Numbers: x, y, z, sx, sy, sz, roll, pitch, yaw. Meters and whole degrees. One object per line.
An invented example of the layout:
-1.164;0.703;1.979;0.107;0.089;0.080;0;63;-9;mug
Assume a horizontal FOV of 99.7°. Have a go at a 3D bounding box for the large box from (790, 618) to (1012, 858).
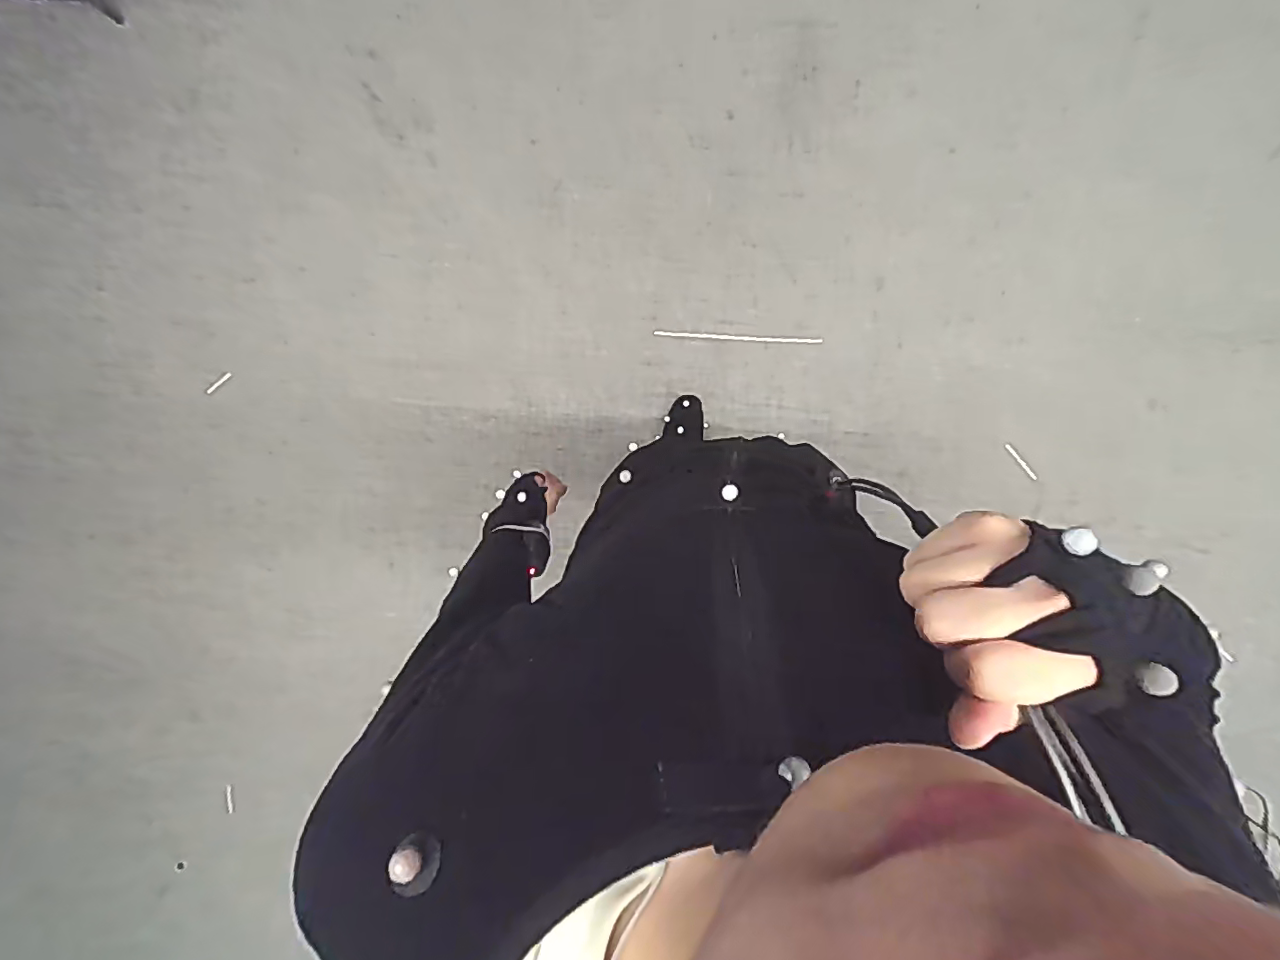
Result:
0.625;0.626;1.369;0.320;0.320;0.408;19;99;-1;large box
